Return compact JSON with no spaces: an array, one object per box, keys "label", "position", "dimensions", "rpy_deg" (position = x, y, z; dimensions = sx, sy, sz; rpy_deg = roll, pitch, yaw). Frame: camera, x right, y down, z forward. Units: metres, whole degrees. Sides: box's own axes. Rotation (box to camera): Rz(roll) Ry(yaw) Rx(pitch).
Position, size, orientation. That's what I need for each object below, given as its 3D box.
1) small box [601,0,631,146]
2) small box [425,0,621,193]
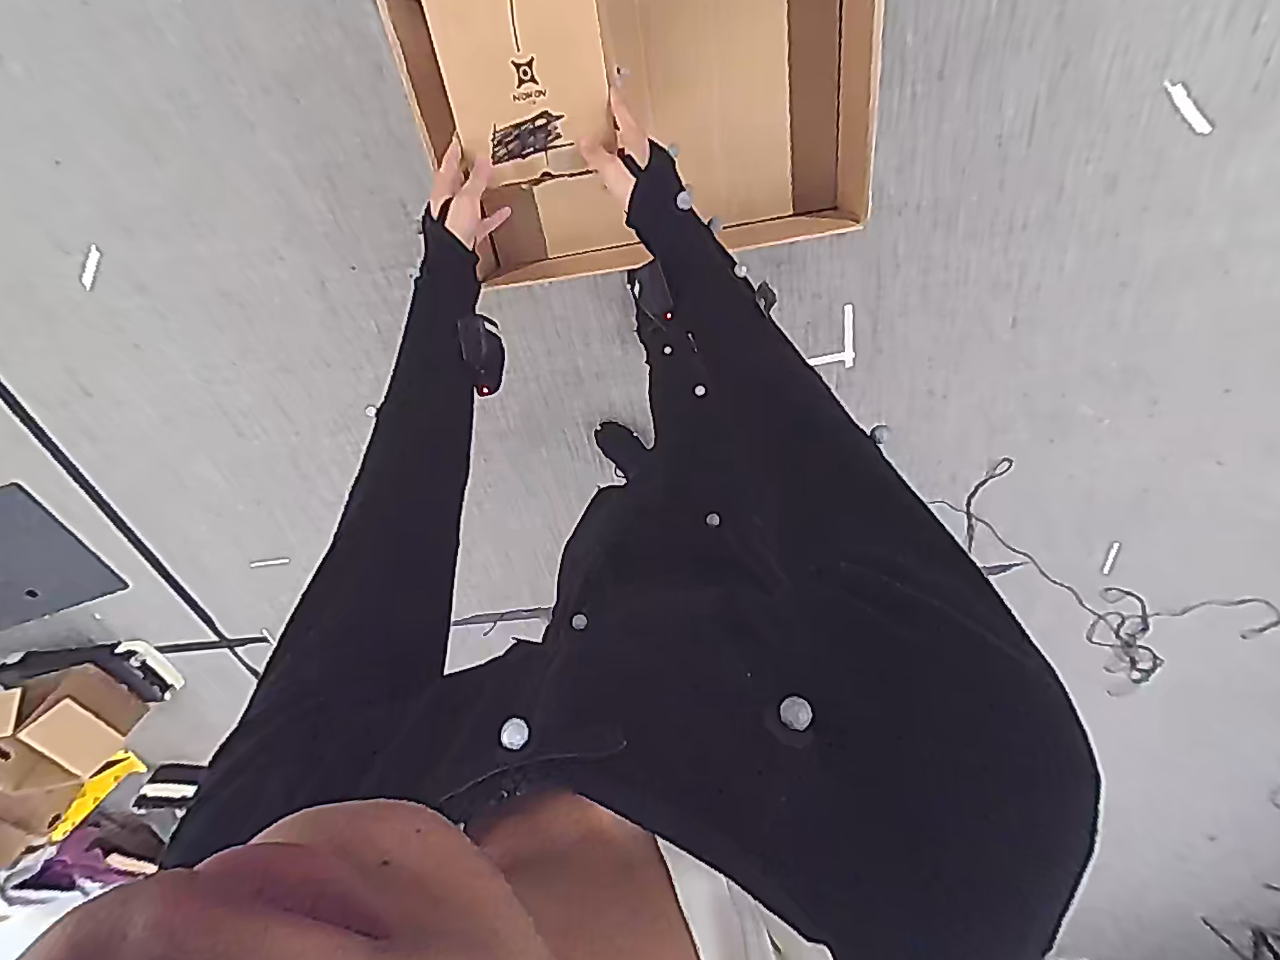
[{"label":"small box","position":[-0.111,-0.553,0.758],"dimensions":[0.168,0.176,0.179],"rpy_deg":[-9,123,8]},{"label":"small box","position":[-0.113,-0.445,0.614],"dimensions":[0.168,0.176,0.179],"rpy_deg":[-8,124,3]}]
